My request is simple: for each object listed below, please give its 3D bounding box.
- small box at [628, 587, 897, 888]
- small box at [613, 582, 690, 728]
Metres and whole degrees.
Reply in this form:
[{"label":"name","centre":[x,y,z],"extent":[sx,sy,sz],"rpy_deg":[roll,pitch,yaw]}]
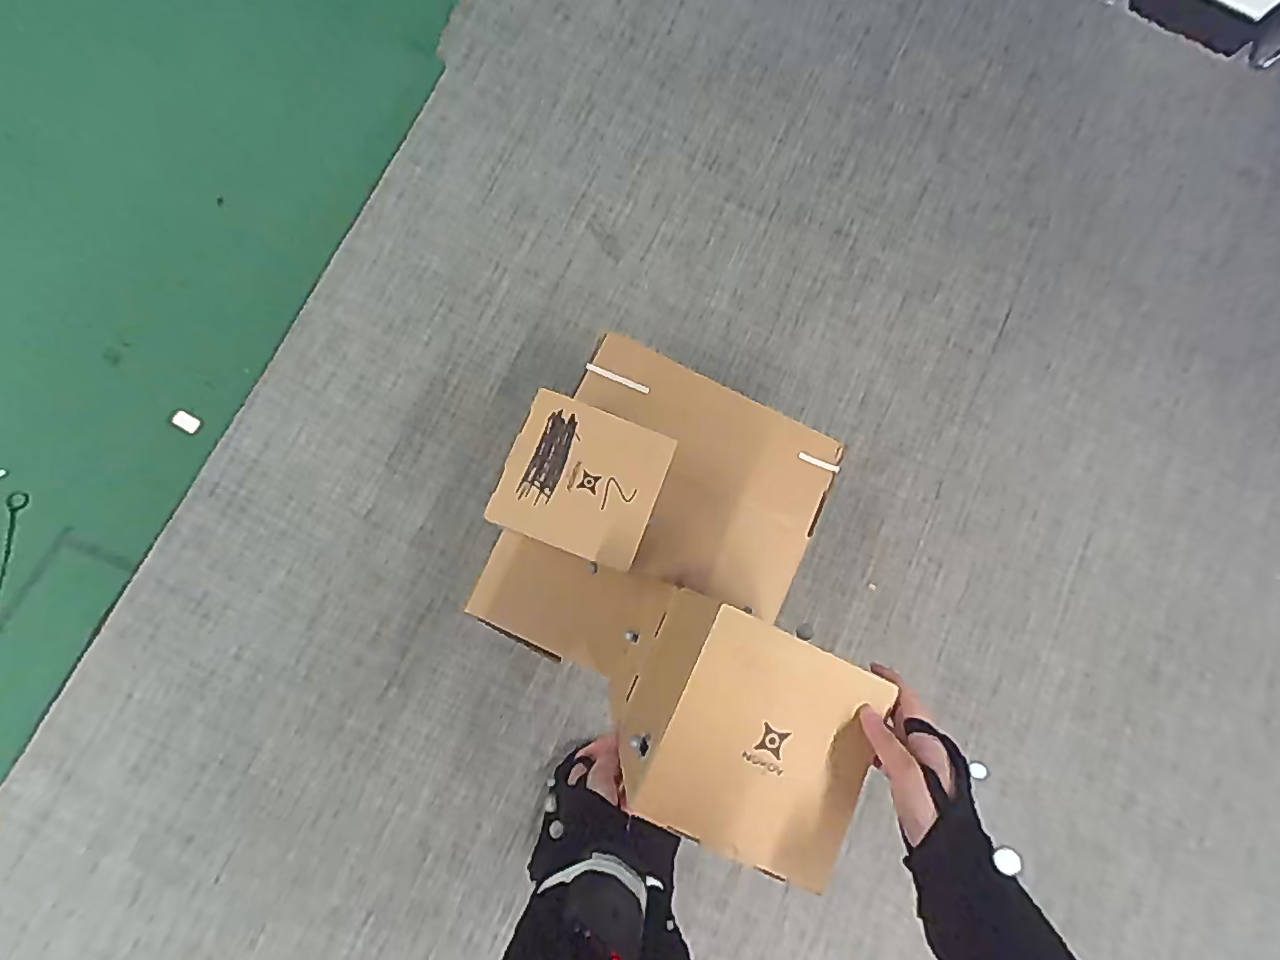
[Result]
[{"label":"small box","centre":[0.095,0.214,0.506],"extent":[0.168,0.176,0.179],"rpy_deg":[26,83,-2]},{"label":"small box","centre":[0.079,0.234,0.670],"extent":[0.179,0.176,0.168],"rpy_deg":[26,81,-2]}]
